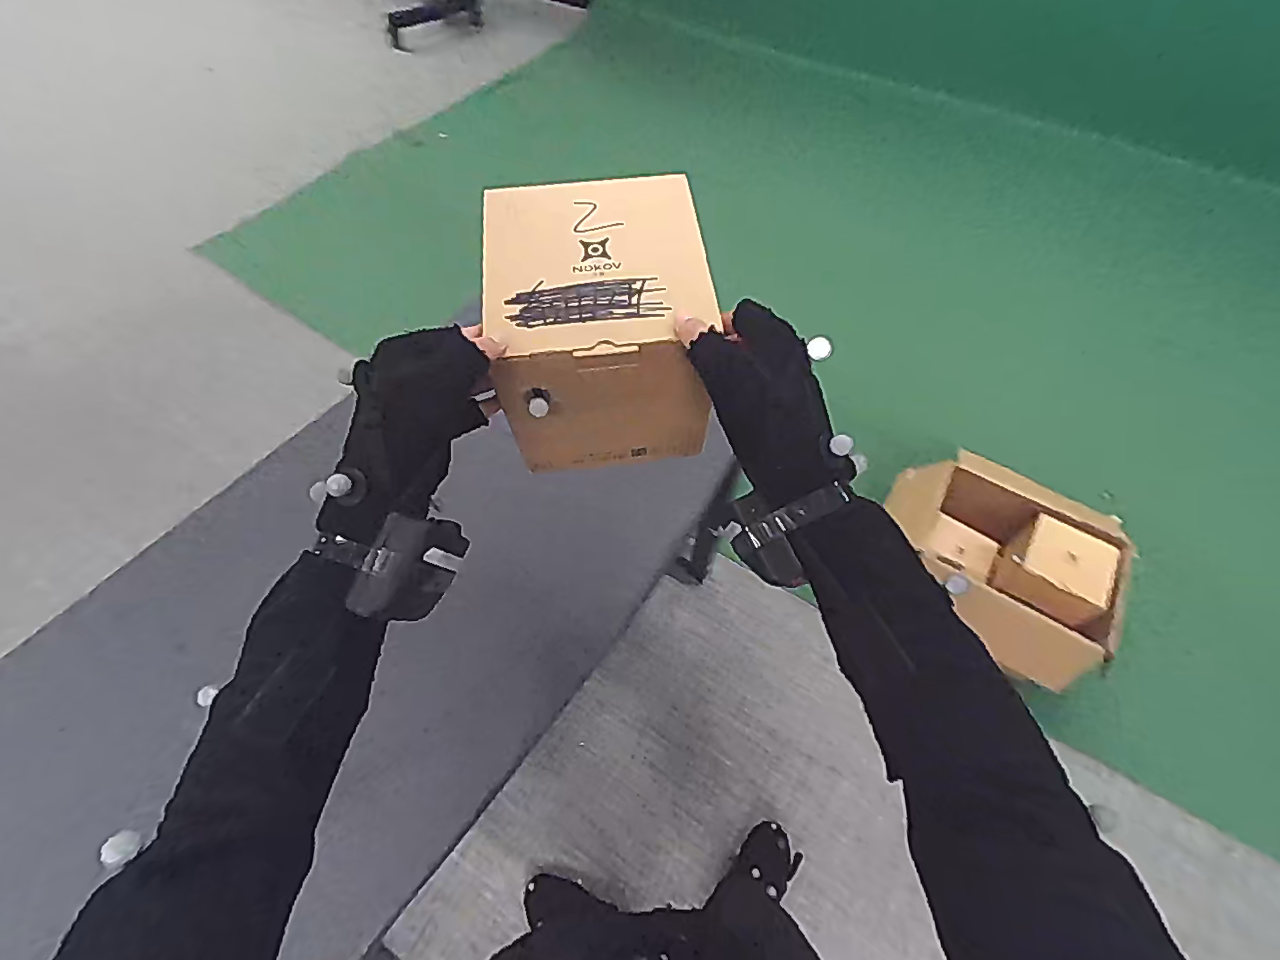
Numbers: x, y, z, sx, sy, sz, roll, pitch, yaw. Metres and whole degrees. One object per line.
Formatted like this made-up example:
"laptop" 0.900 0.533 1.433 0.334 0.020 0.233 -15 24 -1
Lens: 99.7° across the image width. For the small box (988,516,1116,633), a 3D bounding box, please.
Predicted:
"small box" 0.957 0.223 1.268 0.168 0.176 0.179 30 60 21
